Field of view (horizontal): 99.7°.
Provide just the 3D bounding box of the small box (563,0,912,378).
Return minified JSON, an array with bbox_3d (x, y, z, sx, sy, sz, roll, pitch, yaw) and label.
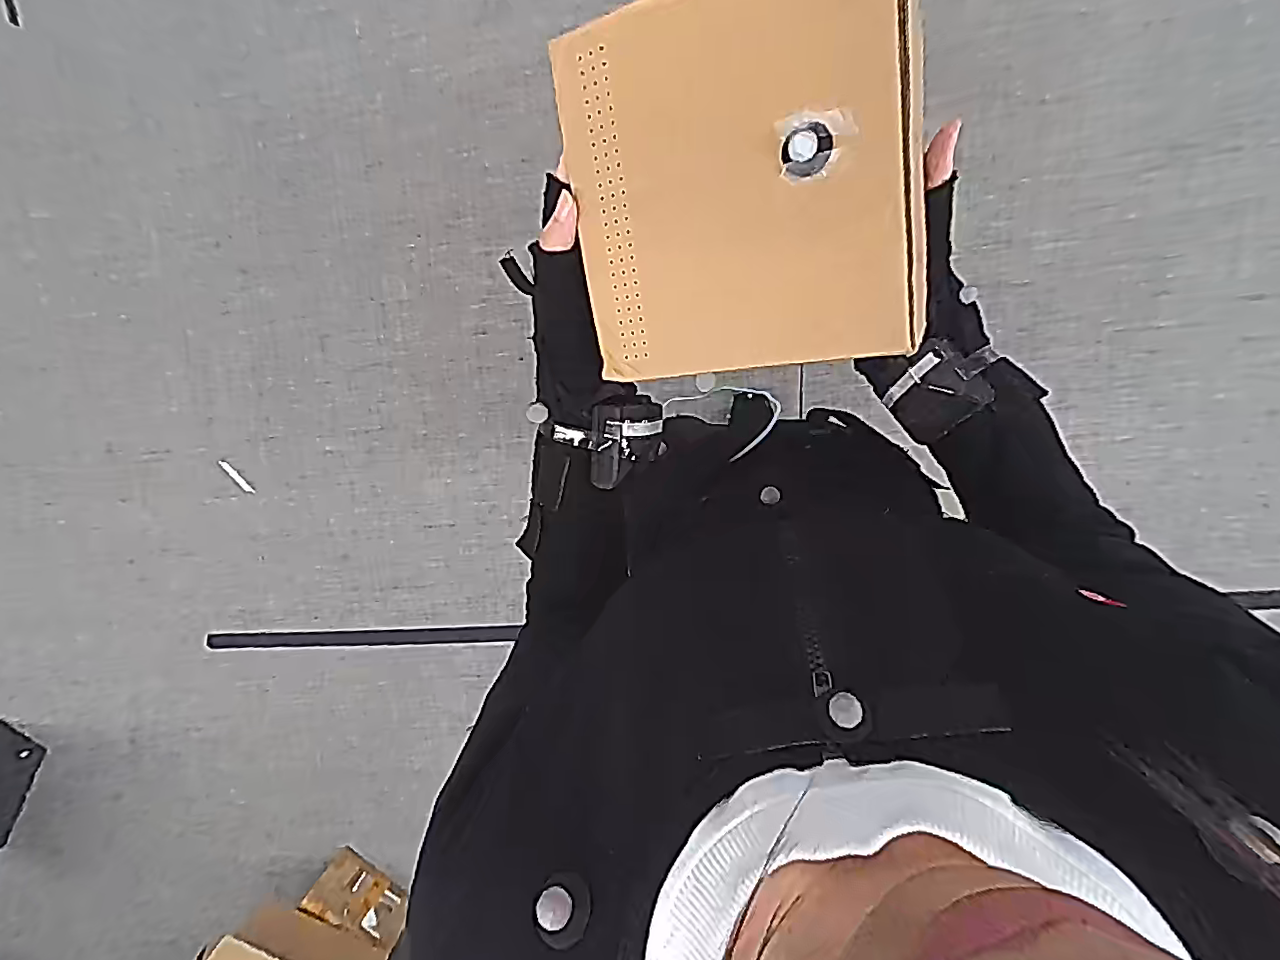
[{"bbox_3d":[0.071,-0.168,0.337,0.176,0.168,0.179,0,107,29],"label":"small box"}]
